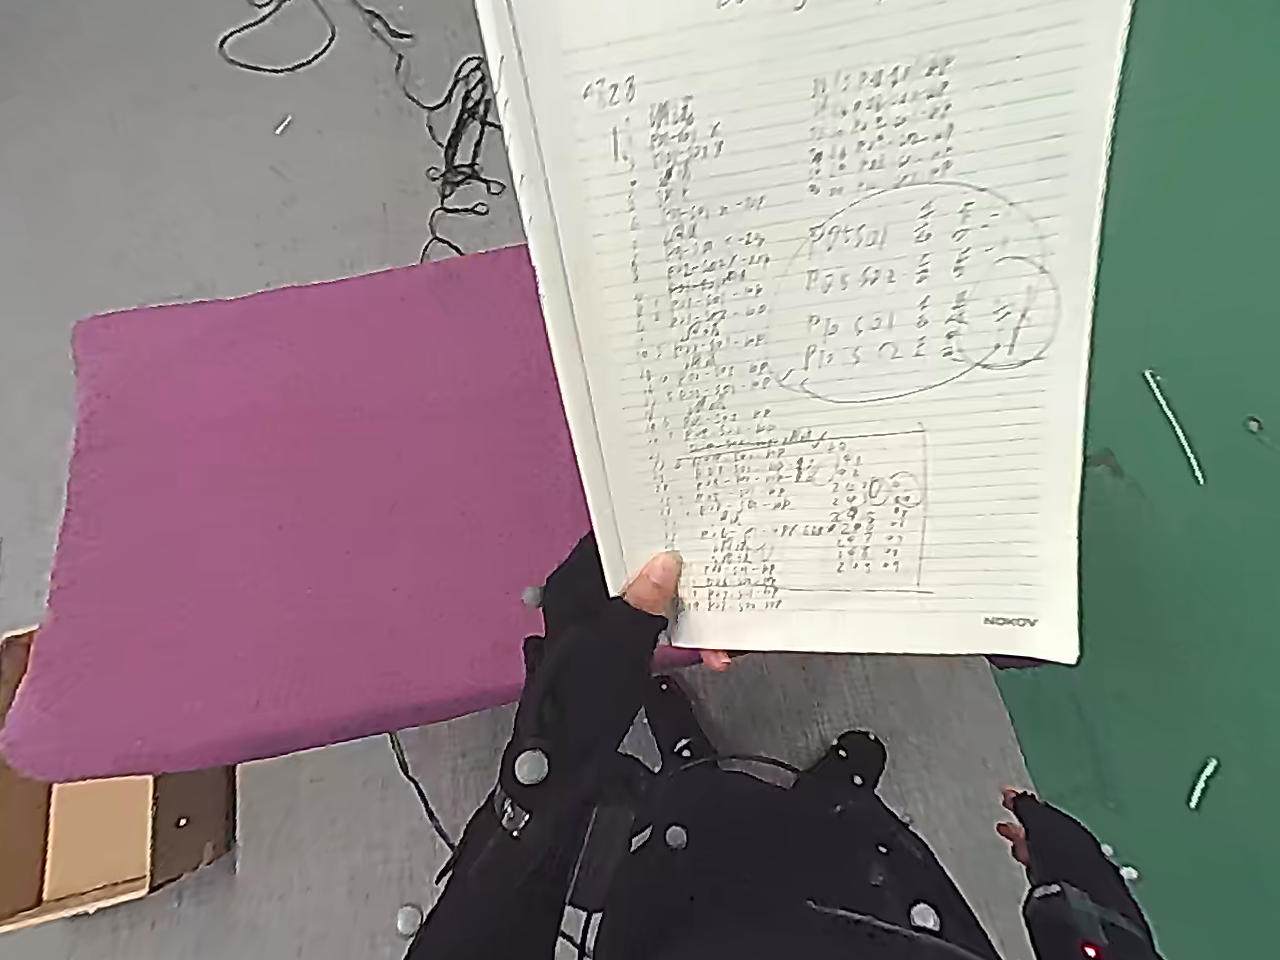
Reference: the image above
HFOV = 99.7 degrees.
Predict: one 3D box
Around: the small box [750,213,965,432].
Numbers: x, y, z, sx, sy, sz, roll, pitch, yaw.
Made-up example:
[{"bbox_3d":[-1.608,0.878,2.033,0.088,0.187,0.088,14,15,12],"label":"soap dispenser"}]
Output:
[{"bbox_3d":[0.231,-0.166,0.626,0.168,0.176,0.179,-10,73,2],"label":"small box"}]
